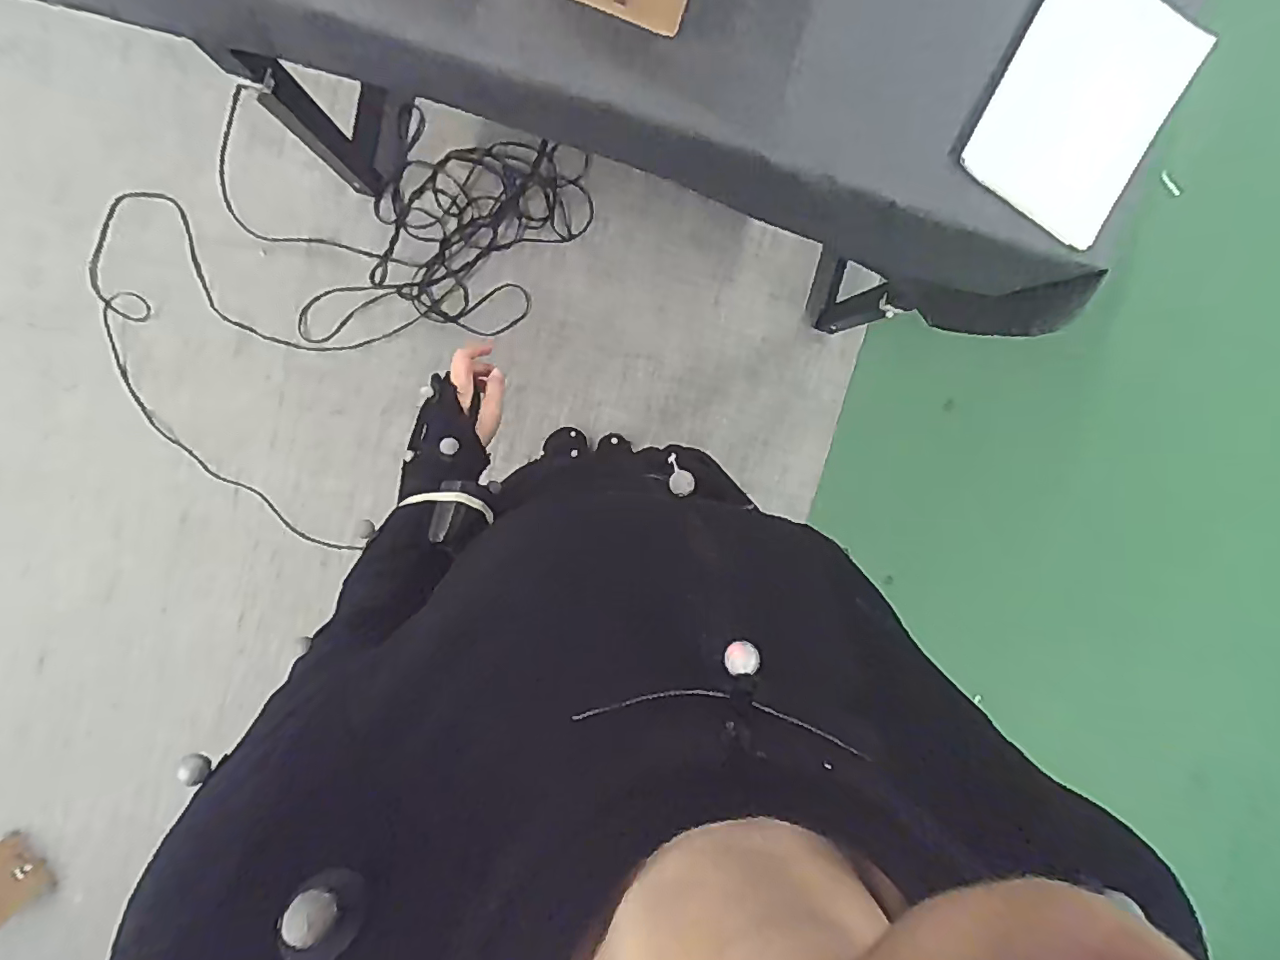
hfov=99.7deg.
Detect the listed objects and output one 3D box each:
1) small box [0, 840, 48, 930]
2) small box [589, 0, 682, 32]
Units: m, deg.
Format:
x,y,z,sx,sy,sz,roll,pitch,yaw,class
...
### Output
x,y,z,sx,sy,sz,roll,pitch,yaw,class
-1.583,1.003,1.265,0.179,0.176,0.168,-29,101,-2,small box
-0.015,-0.551,0.467,0.168,0.176,0.179,16,95,-7,small box
